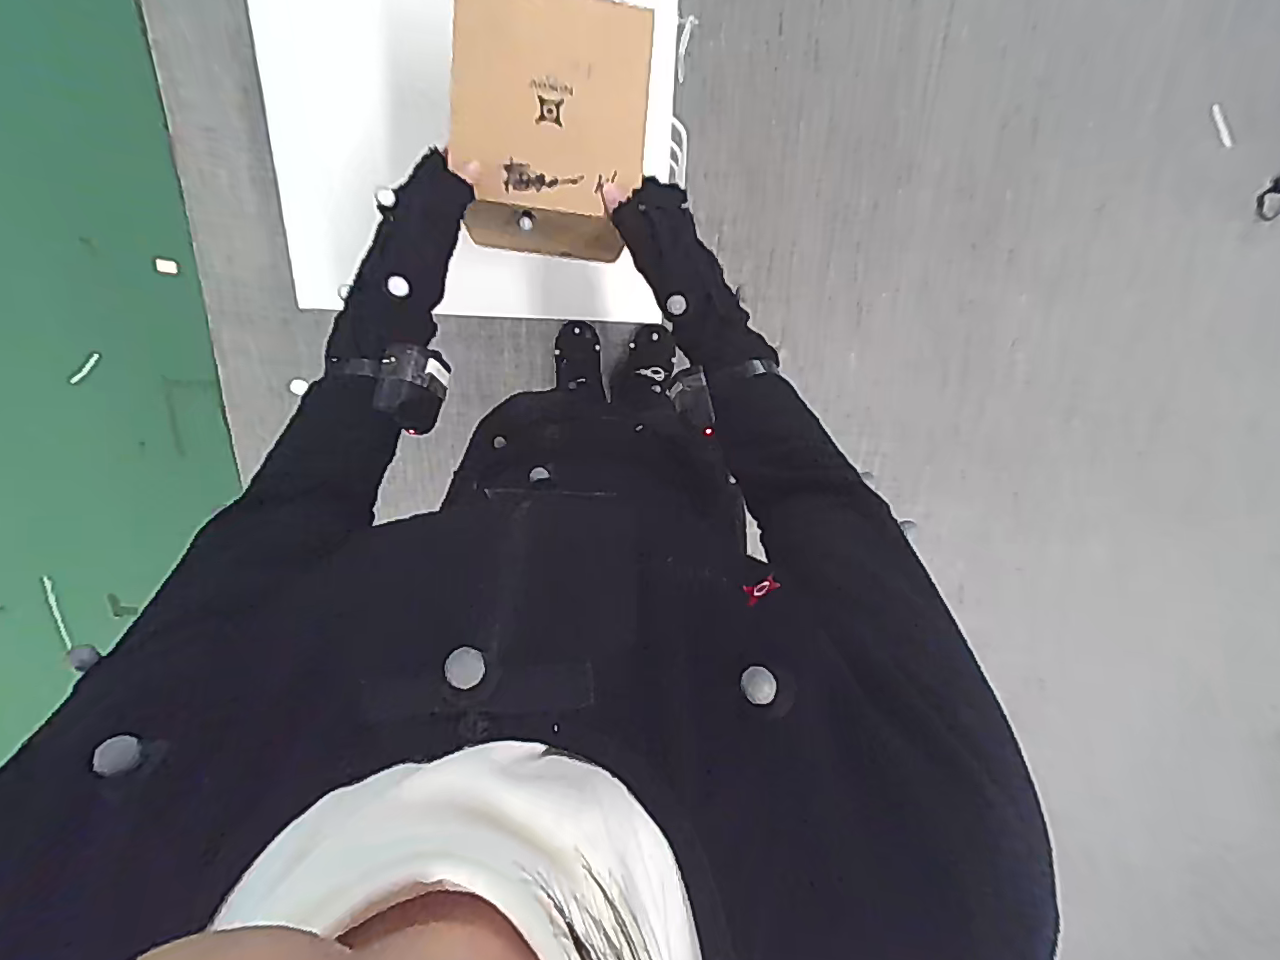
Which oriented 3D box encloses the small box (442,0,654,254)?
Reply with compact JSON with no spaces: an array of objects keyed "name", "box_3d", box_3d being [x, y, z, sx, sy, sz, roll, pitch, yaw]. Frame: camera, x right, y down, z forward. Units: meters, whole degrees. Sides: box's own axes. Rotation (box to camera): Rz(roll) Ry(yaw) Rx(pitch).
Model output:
[{"name":"small box","box_3d":[-0.088,-0.339,0.525,0.168,0.176,0.179,4,99,-9]}]
